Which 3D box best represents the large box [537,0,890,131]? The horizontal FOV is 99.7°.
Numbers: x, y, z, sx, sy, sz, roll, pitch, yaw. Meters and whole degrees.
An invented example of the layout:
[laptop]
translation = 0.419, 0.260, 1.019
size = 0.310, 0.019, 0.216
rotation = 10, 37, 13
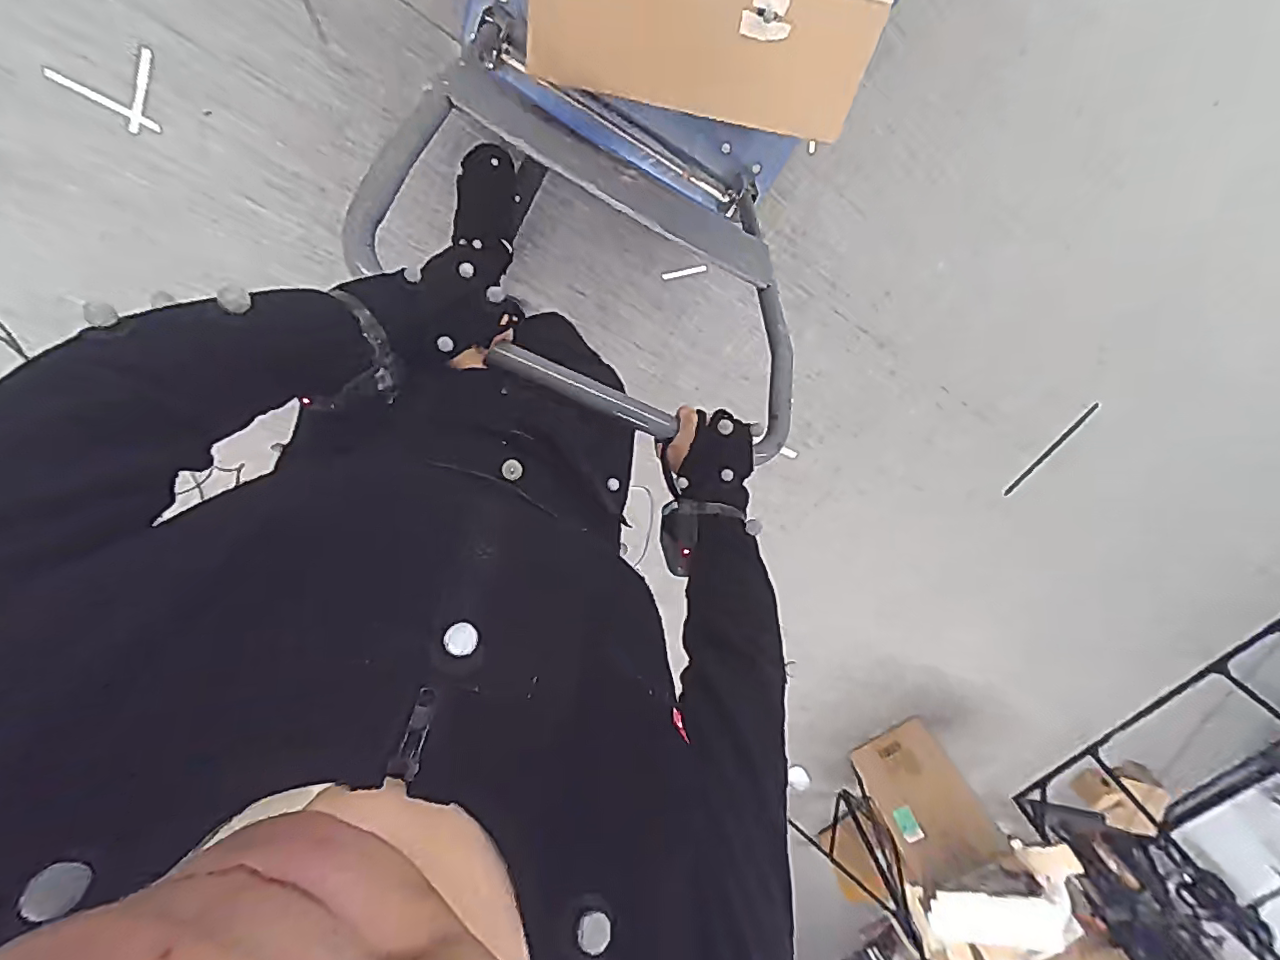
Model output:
[large box]
translation = 0.089, -0.688, 0.675
size = 0.408, 0.320, 0.320
rotation = 6, 138, -9
